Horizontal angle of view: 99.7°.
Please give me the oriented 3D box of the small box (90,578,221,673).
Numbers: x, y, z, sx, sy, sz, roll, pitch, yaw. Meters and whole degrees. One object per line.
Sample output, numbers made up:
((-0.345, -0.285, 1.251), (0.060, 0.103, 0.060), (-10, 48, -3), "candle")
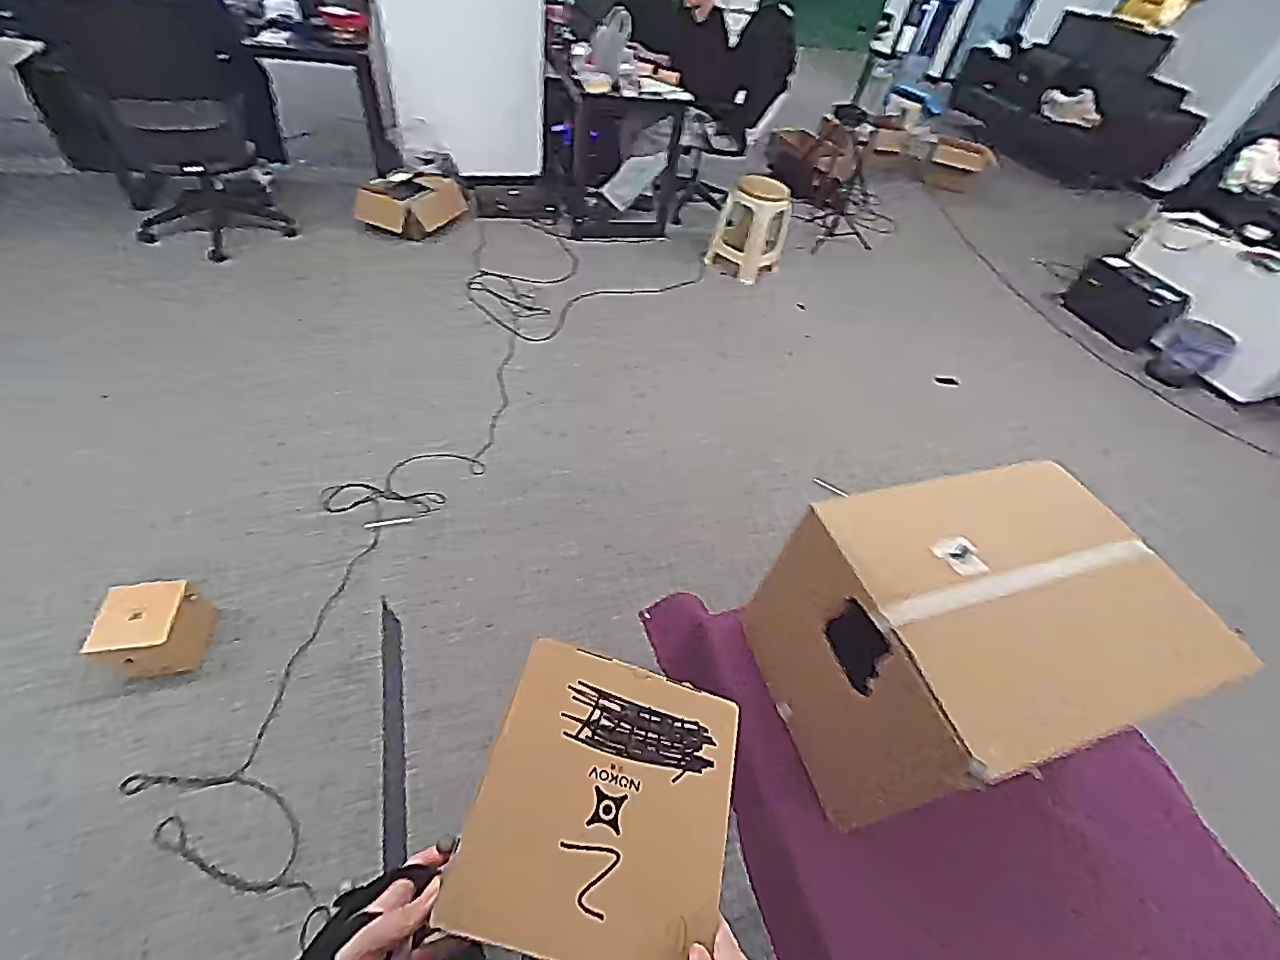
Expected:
((-1.204, 0.372, 1.364), (0.168, 0.176, 0.179), (-4, 50, -12), "small box")
